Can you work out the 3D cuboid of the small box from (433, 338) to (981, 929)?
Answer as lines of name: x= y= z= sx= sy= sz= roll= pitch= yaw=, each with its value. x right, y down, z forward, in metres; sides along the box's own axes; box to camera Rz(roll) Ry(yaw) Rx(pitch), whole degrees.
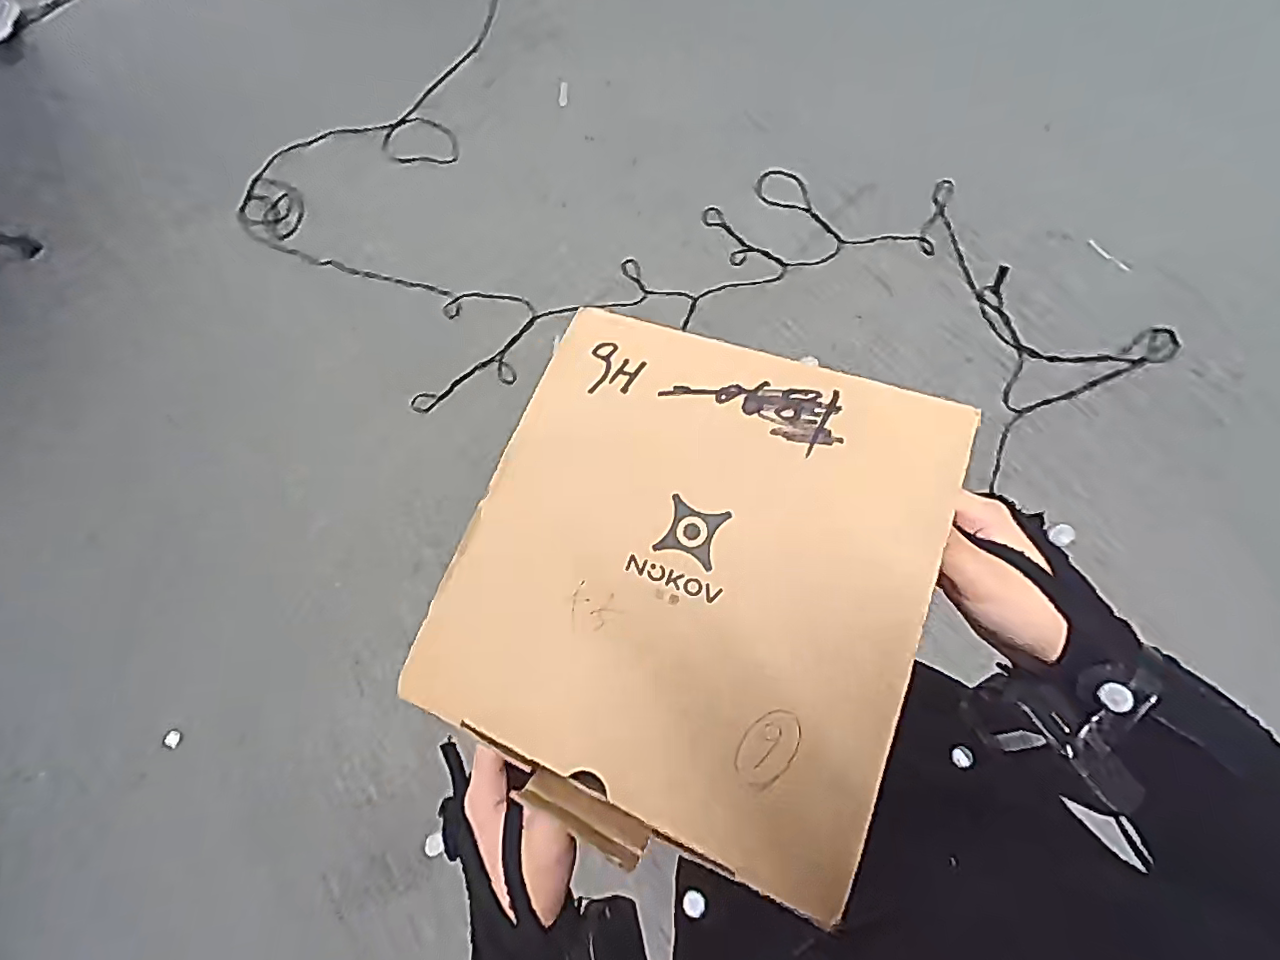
small box: x=0.038 y=0.061 z=0.282 sx=0.168 sy=0.176 sz=0.179 roll=20 pitch=77 yaw=16
